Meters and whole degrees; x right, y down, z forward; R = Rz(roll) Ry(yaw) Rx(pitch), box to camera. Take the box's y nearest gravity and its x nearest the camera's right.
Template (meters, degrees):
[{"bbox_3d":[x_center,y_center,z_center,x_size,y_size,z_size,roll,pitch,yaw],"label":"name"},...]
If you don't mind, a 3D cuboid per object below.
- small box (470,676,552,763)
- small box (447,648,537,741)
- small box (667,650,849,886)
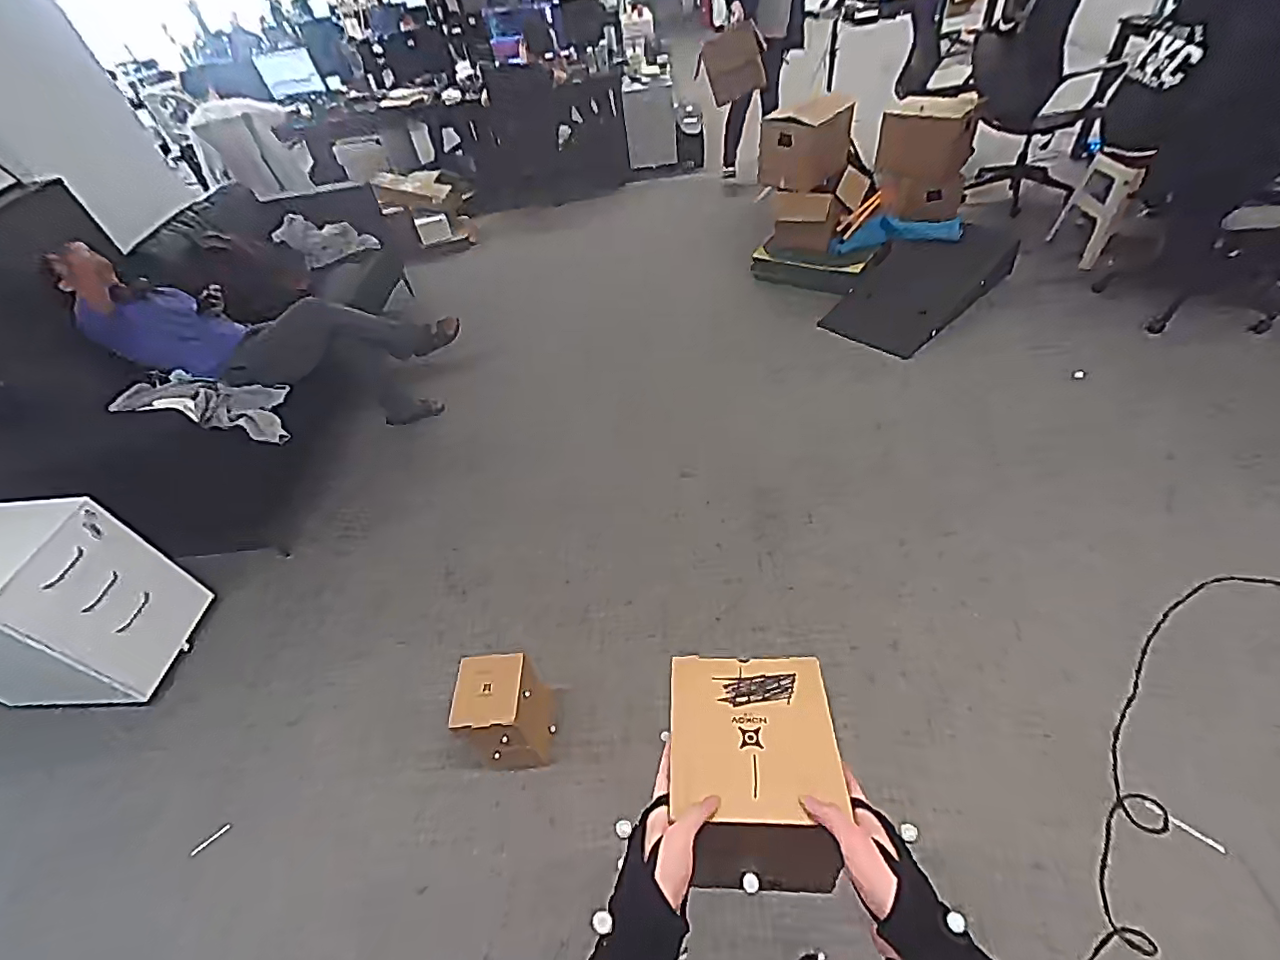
[{"bbox_3d":[-0.347,0.664,1.499,0.168,0.176,0.179,-5,46,6],"label":"small box"},{"bbox_3d":[-0.369,0.553,1.382,0.168,0.176,0.179,-6,45,4],"label":"small box"},{"bbox_3d":[0.117,0.313,0.601,0.168,0.176,0.179,-1,37,6],"label":"small box"}]
